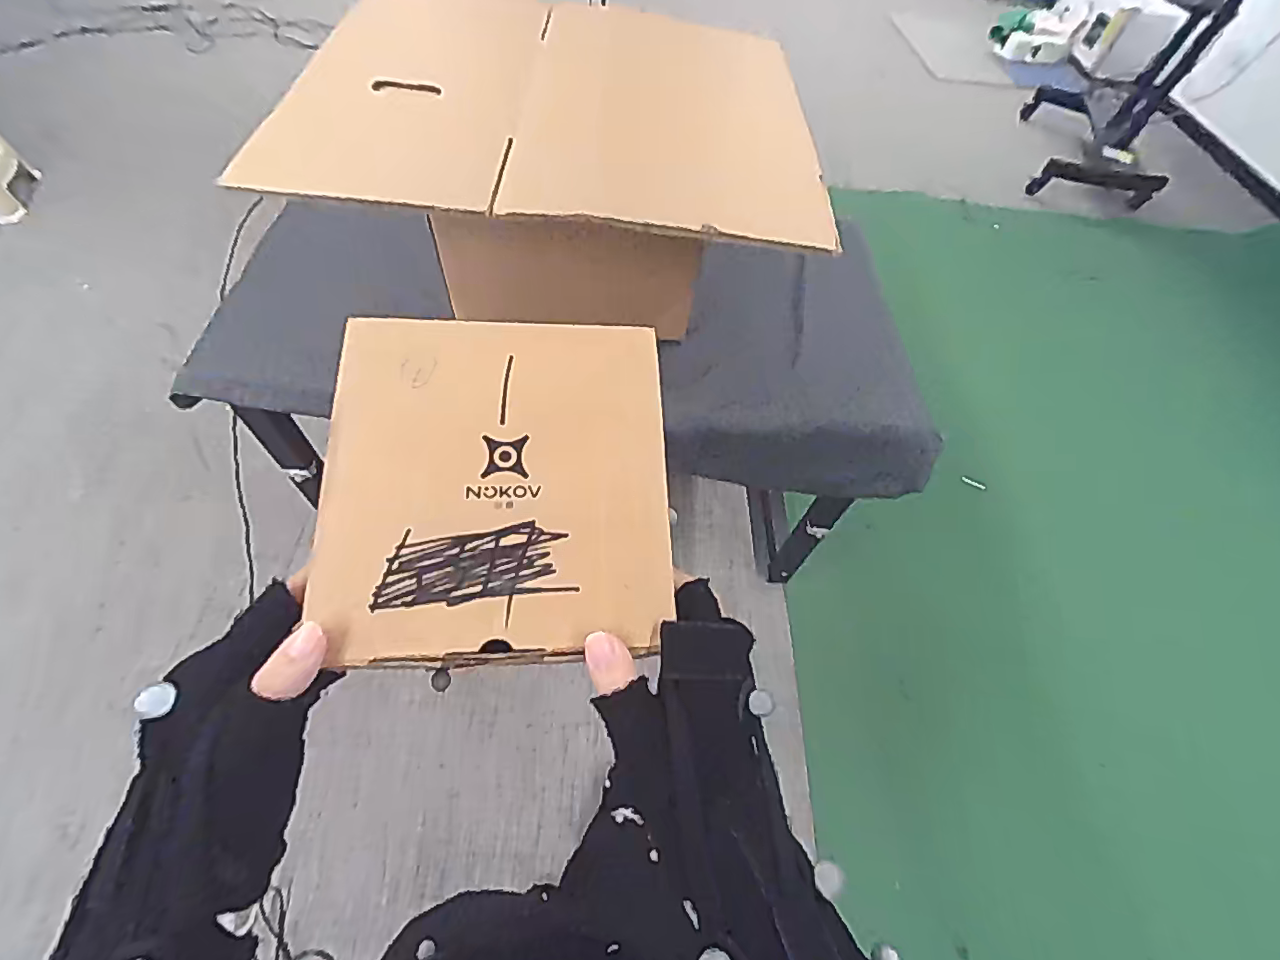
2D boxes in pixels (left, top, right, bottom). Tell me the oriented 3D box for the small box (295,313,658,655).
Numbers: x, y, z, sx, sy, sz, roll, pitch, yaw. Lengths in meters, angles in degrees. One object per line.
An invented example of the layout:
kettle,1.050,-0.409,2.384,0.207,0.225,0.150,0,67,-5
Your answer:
small box,-0.083,0.018,0.346,0.168,0.176,0.179,0,70,-7
